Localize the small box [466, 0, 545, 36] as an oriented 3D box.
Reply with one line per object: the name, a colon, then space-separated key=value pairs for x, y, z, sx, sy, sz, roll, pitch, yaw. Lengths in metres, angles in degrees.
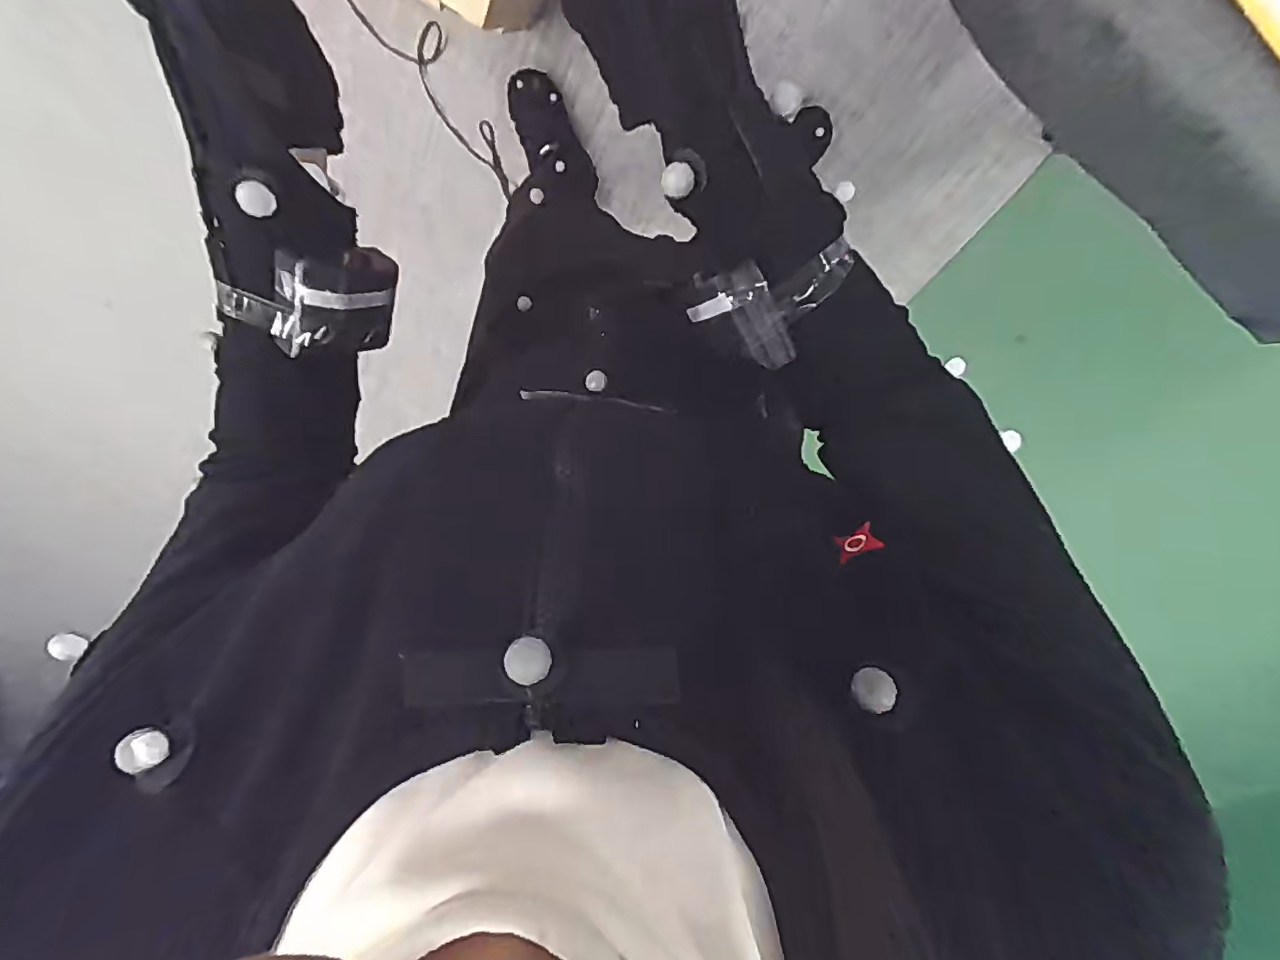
small box: x=-0.225 y=-0.872 z=0.873 sx=0.168 sy=0.176 sz=0.179 roll=33 pitch=127 yaw=-20
